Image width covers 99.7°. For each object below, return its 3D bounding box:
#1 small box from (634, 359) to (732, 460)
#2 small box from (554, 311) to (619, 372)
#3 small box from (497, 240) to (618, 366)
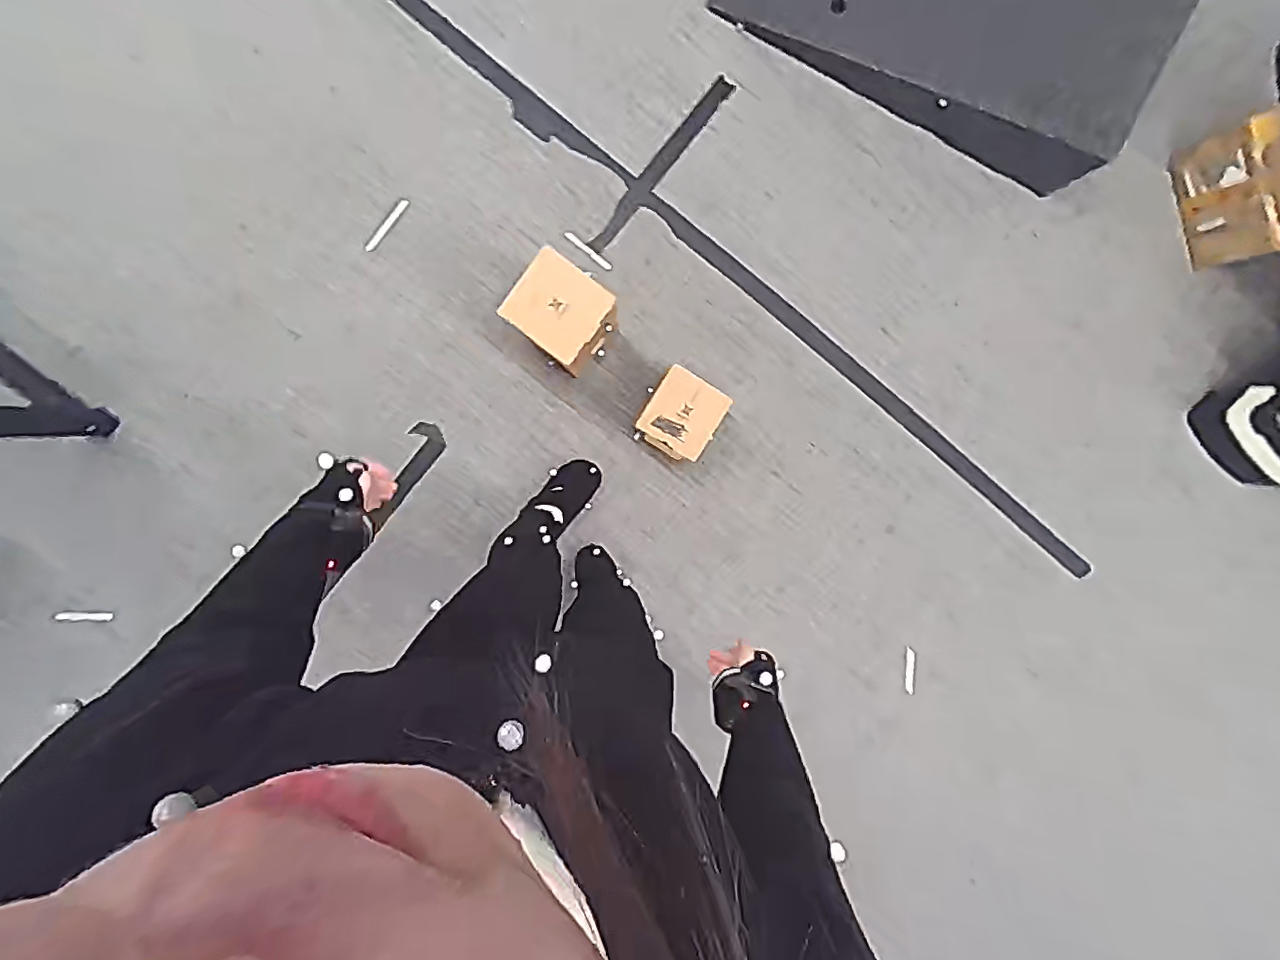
[{"bbox_3d":[0.097,-0.169,1.317,0.168,0.176,0.179,32,94,-6],"label":"small box"},{"bbox_3d":[-0.167,-0.372,1.277,0.179,0.176,0.168,39,93,-8],"label":"small box"},{"bbox_3d":[-0.162,-0.351,1.114,0.179,0.176,0.168,37,93,-6],"label":"small box"}]
